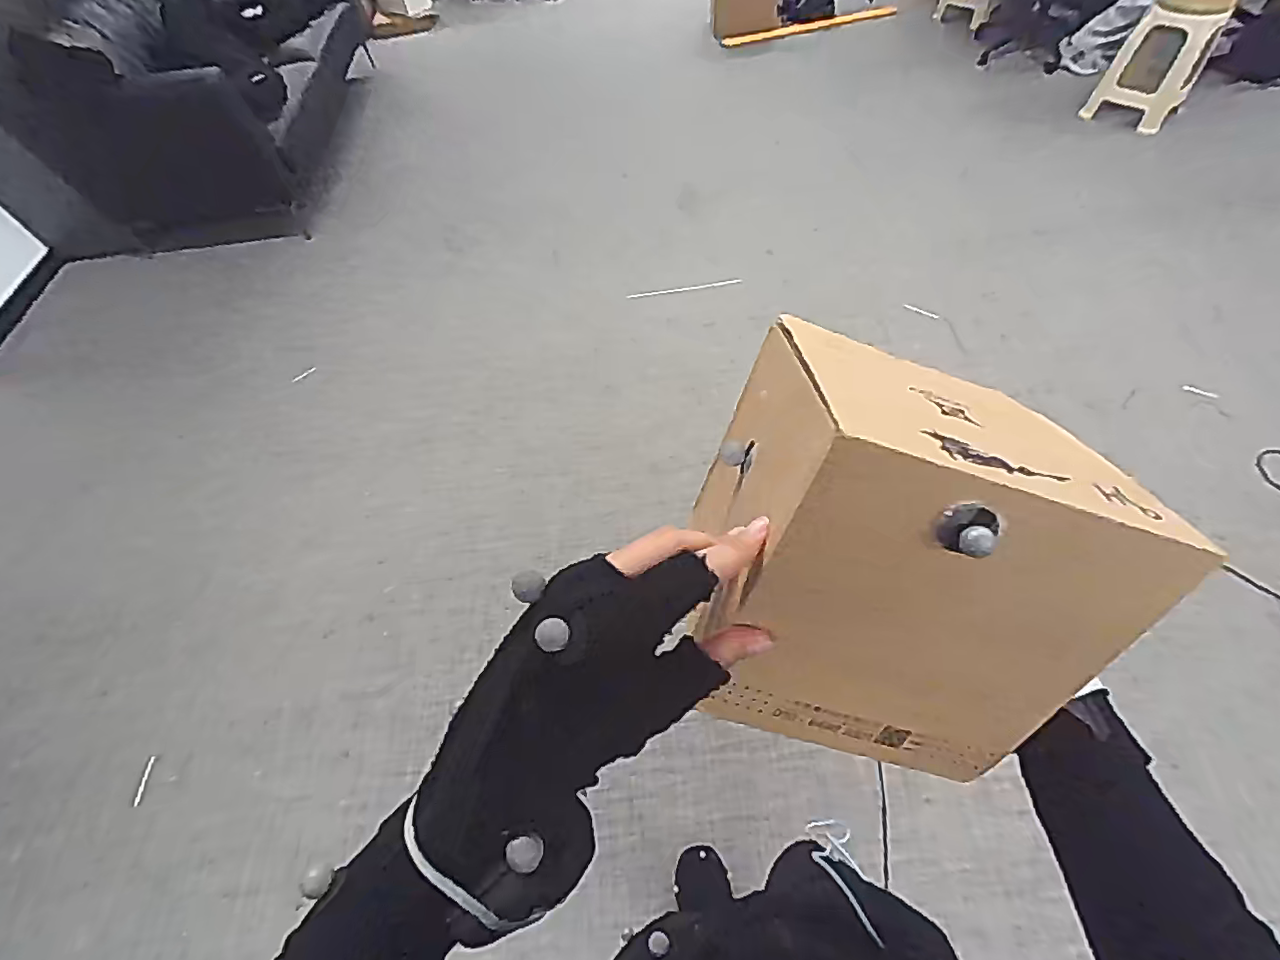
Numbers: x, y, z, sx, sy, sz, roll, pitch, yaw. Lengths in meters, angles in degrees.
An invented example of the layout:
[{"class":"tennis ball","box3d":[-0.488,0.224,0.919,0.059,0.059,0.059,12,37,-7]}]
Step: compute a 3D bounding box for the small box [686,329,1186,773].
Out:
[{"class":"small box","box3d":[0.131,0.033,0.328,0.168,0.176,0.179,17,30,-4]}]
